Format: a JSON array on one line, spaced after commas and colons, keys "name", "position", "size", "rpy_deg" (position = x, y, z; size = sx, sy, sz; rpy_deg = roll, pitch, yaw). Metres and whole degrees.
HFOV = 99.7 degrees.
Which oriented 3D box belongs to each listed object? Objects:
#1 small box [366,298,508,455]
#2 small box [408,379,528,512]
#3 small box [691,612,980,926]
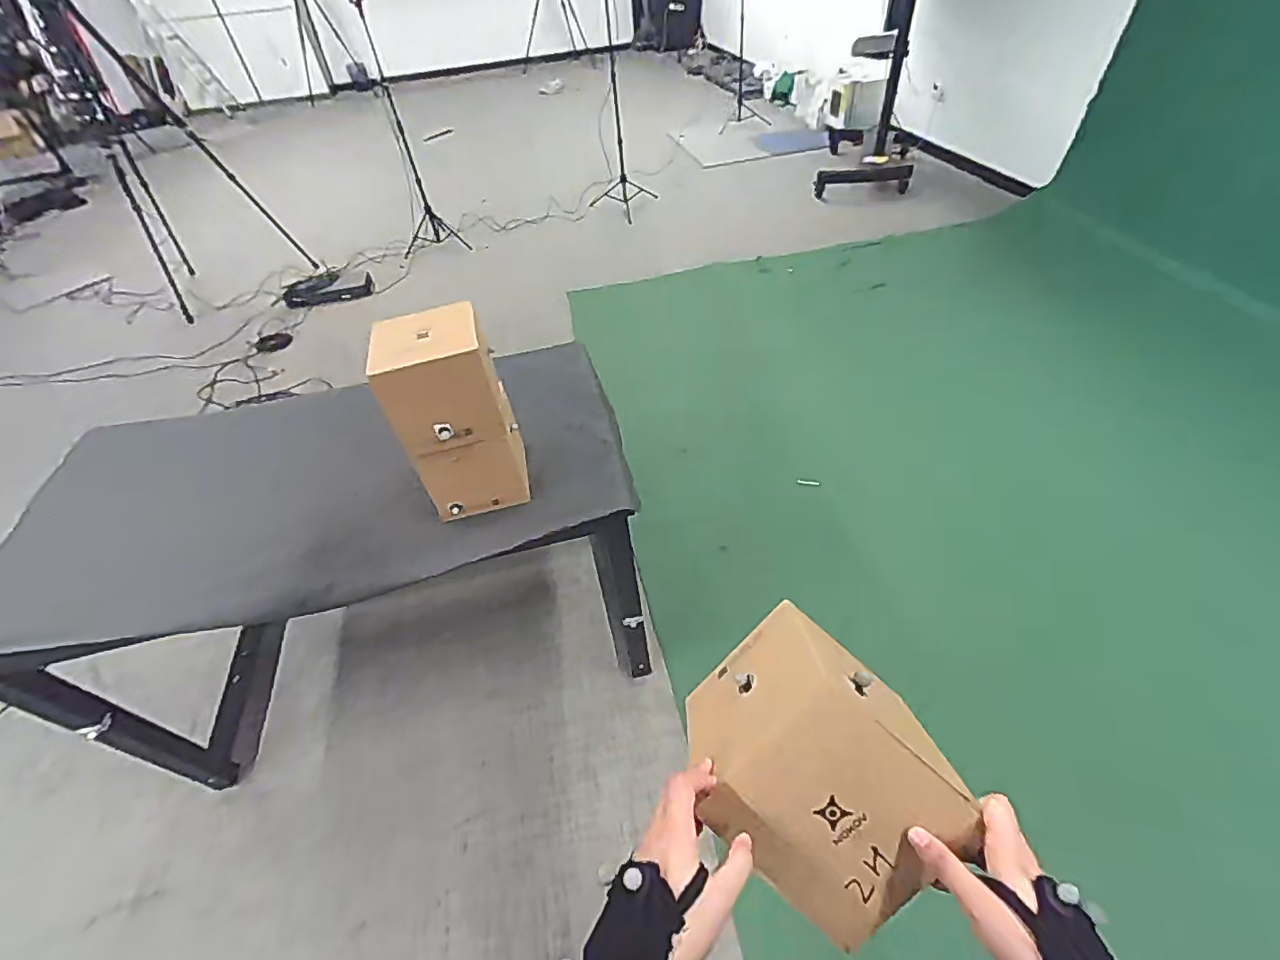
[{"name": "small box", "position": [-0.328, -0.170, 0.893], "size": [0.168, 0.176, 0.179], "rpy_deg": [-17, 46, -7]}, {"name": "small box", "position": [-0.313, -0.058, 1.010], "size": [0.168, 0.176, 0.179], "rpy_deg": [-13, 44, -5]}, {"name": "small box", "position": [0.162, 0.253, 0.520], "size": [0.179, 0.168, 0.176], "rpy_deg": [40, 11, -5]}]
